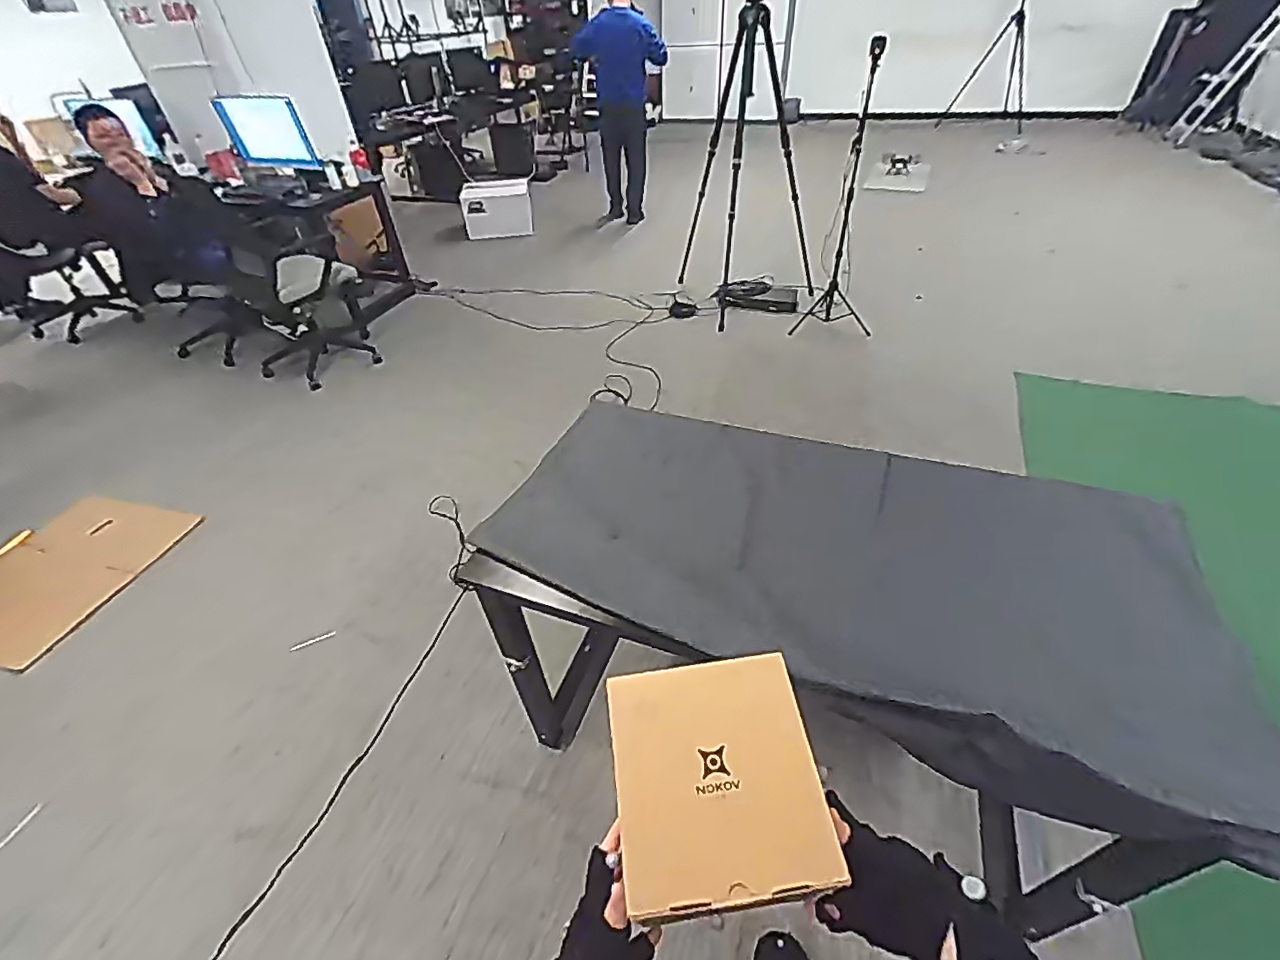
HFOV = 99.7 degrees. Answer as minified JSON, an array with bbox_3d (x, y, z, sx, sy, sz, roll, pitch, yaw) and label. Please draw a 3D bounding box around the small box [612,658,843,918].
[{"bbox_3d":[0.064,0.293,0.513,0.168,0.176,0.179,-7,51,-3],"label":"small box"}]
